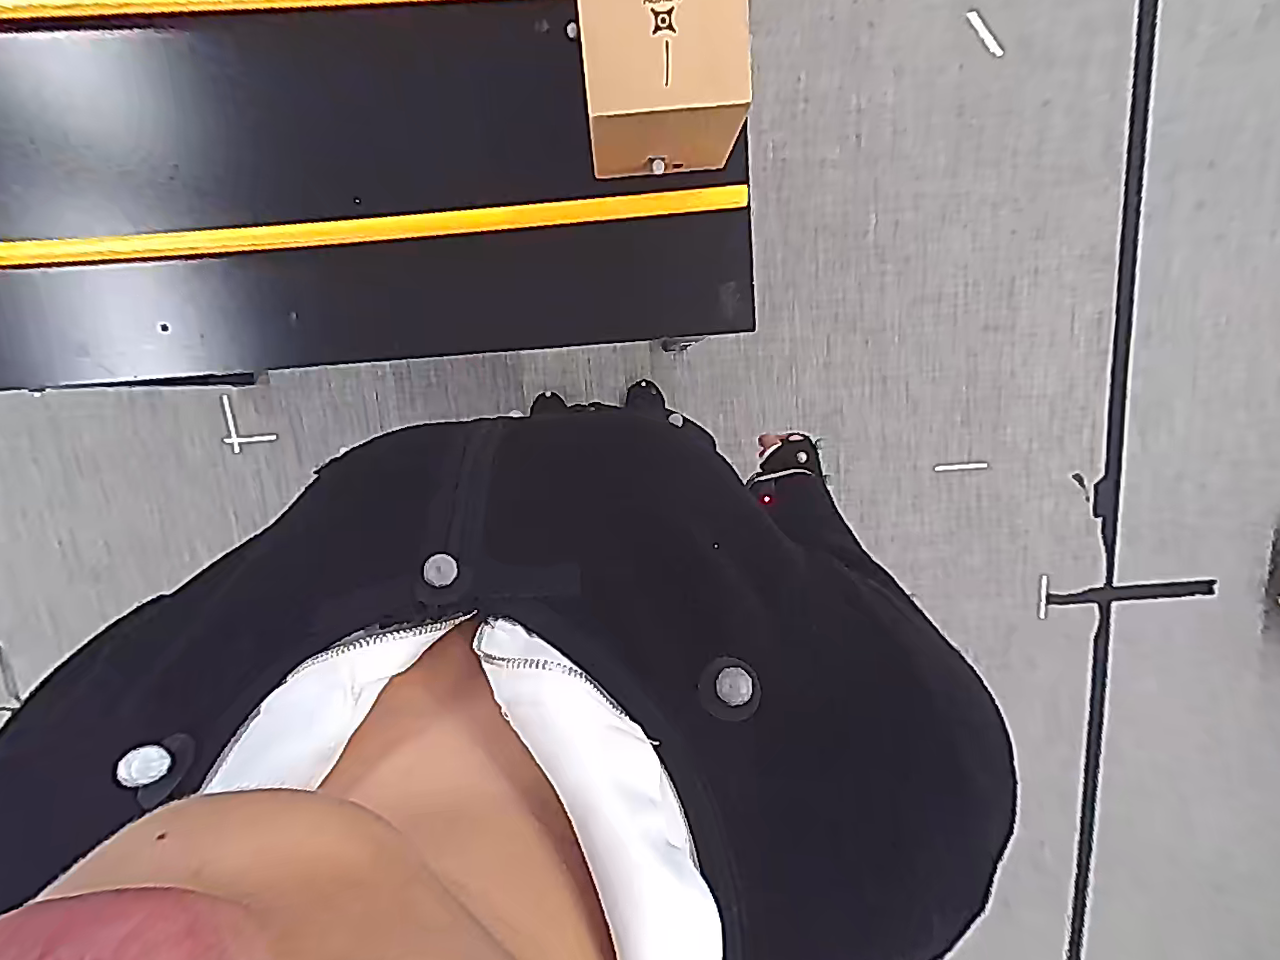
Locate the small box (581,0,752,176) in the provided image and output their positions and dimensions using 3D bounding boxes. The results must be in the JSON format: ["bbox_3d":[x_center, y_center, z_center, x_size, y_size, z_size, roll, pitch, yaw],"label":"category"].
[{"bbox_3d":[0.022,-0.468,0.603,0.168,0.176,0.179,-5,100,-1],"label":"small box"}]
